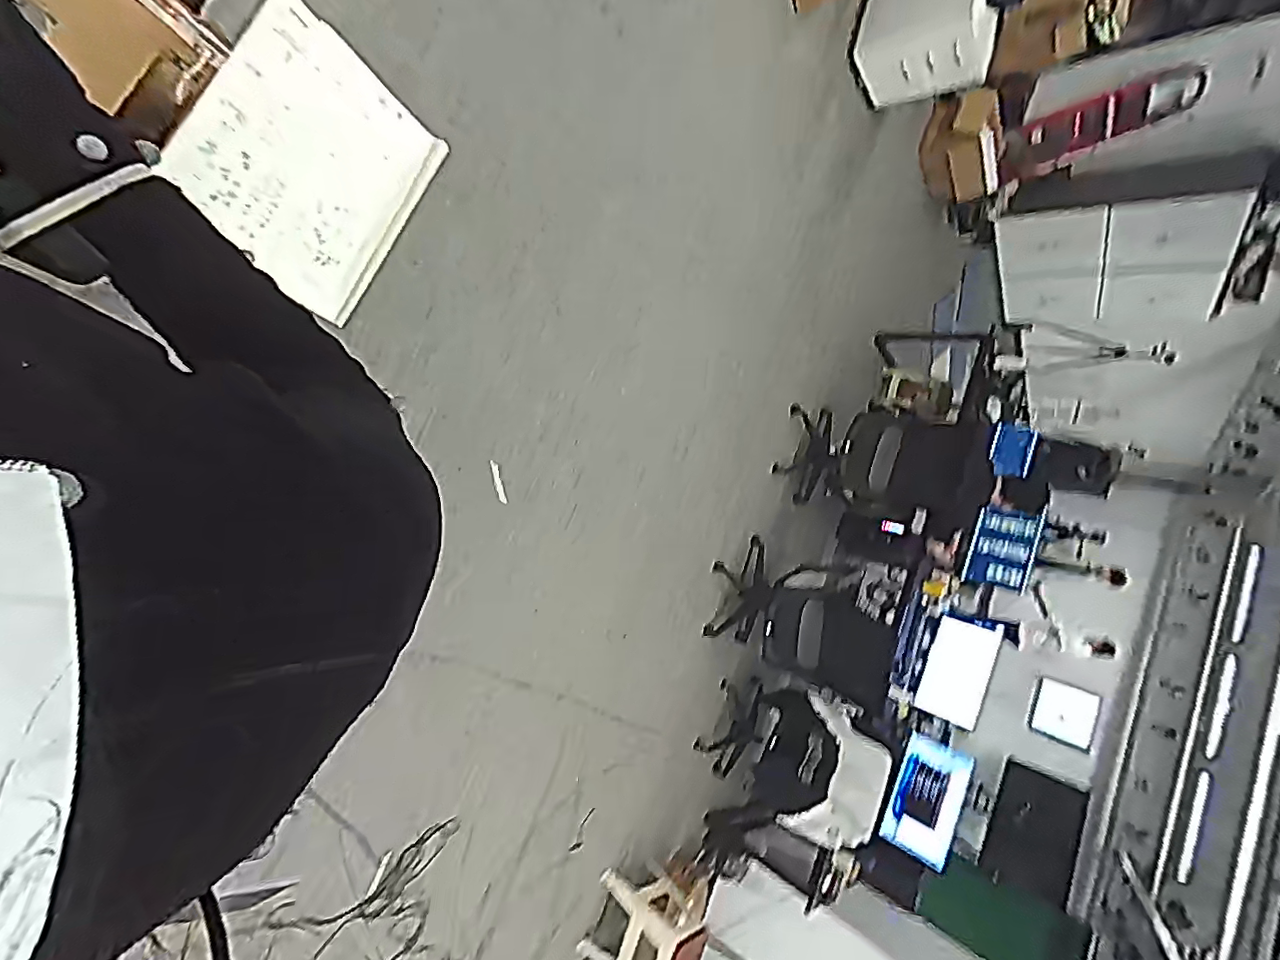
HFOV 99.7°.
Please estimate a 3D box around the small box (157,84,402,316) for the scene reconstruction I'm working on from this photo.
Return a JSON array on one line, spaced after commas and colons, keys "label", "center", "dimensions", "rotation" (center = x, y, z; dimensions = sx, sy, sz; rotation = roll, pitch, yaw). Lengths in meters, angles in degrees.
[{"label": "small box", "center": [-0.434, -0.322, 0.652], "dimensions": [0.168, 0.176, 0.179], "rotation": [36, 76, -49]}]
